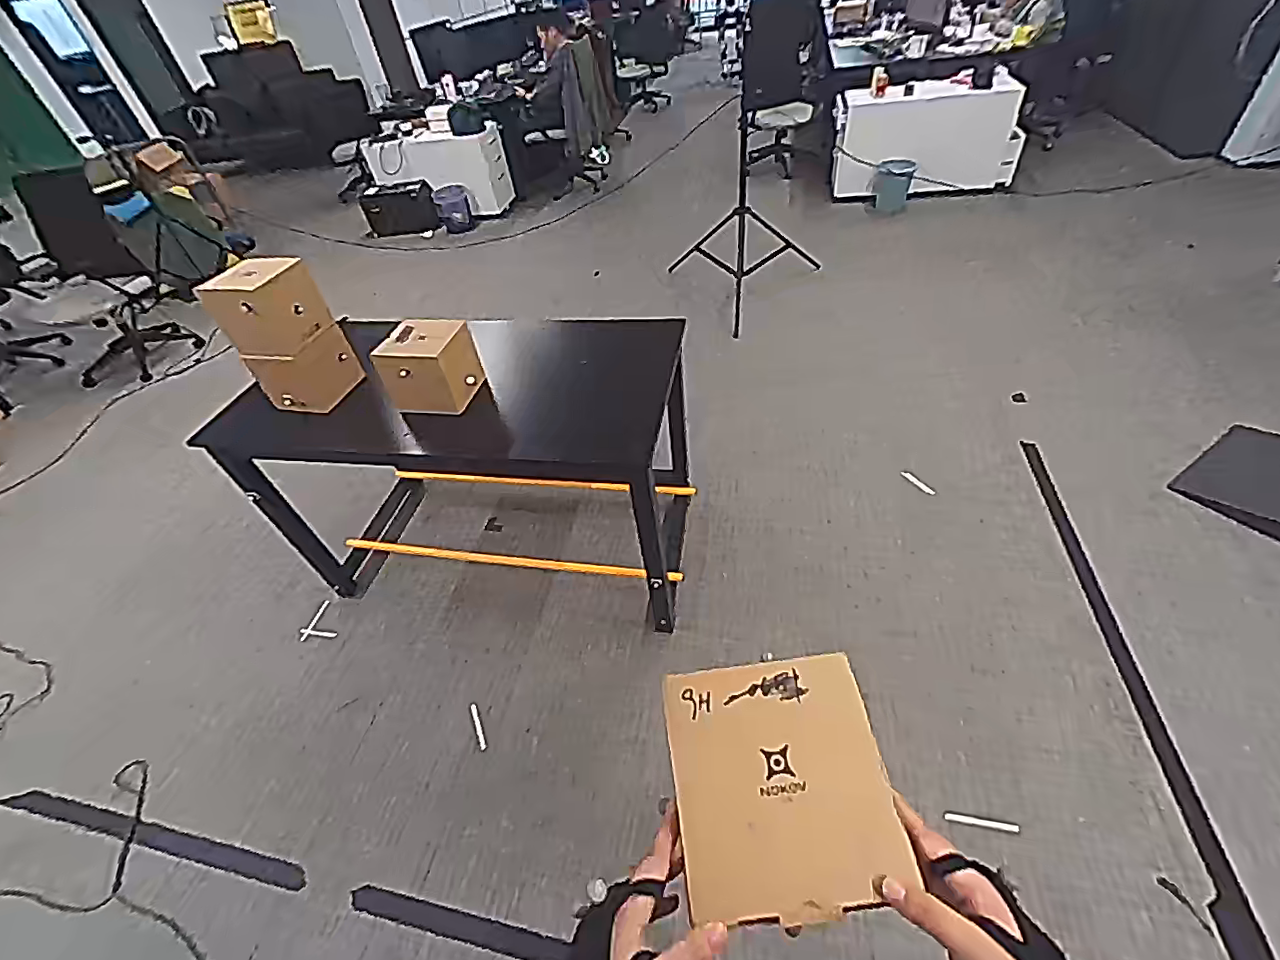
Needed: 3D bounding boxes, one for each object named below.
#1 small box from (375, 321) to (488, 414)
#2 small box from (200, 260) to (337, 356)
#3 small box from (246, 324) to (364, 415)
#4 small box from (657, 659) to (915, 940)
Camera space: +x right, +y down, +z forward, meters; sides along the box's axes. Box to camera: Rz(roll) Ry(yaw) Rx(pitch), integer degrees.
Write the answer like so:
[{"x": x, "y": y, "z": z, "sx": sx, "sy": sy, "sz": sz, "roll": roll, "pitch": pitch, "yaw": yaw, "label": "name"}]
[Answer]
[{"x": -0.508, "y": -0.279, "z": 1.344, "sx": 0.179, "sy": 0.176, "sz": 0.168, "roll": 4, "pitch": 46, "yaw": 12, "label": "small box"}, {"x": -0.884, "y": -0.414, "z": 1.308, "sx": 0.179, "sy": 0.176, "sz": 0.168, "roll": 5, "pitch": 46, "yaw": 15, "label": "small box"}, {"x": -0.861, "y": -0.293, "z": 1.418, "sx": 0.168, "sy": 0.176, "sz": 0.179, "roll": 5, "pitch": 47, "yaw": 15, "label": "small box"}, {"x": 0.109, "y": 0.280, "z": 0.486, "sx": 0.168, "sy": 0.176, "sz": 0.179, "roll": -7, "pitch": 56, "yaw": -1, "label": "small box"}]
